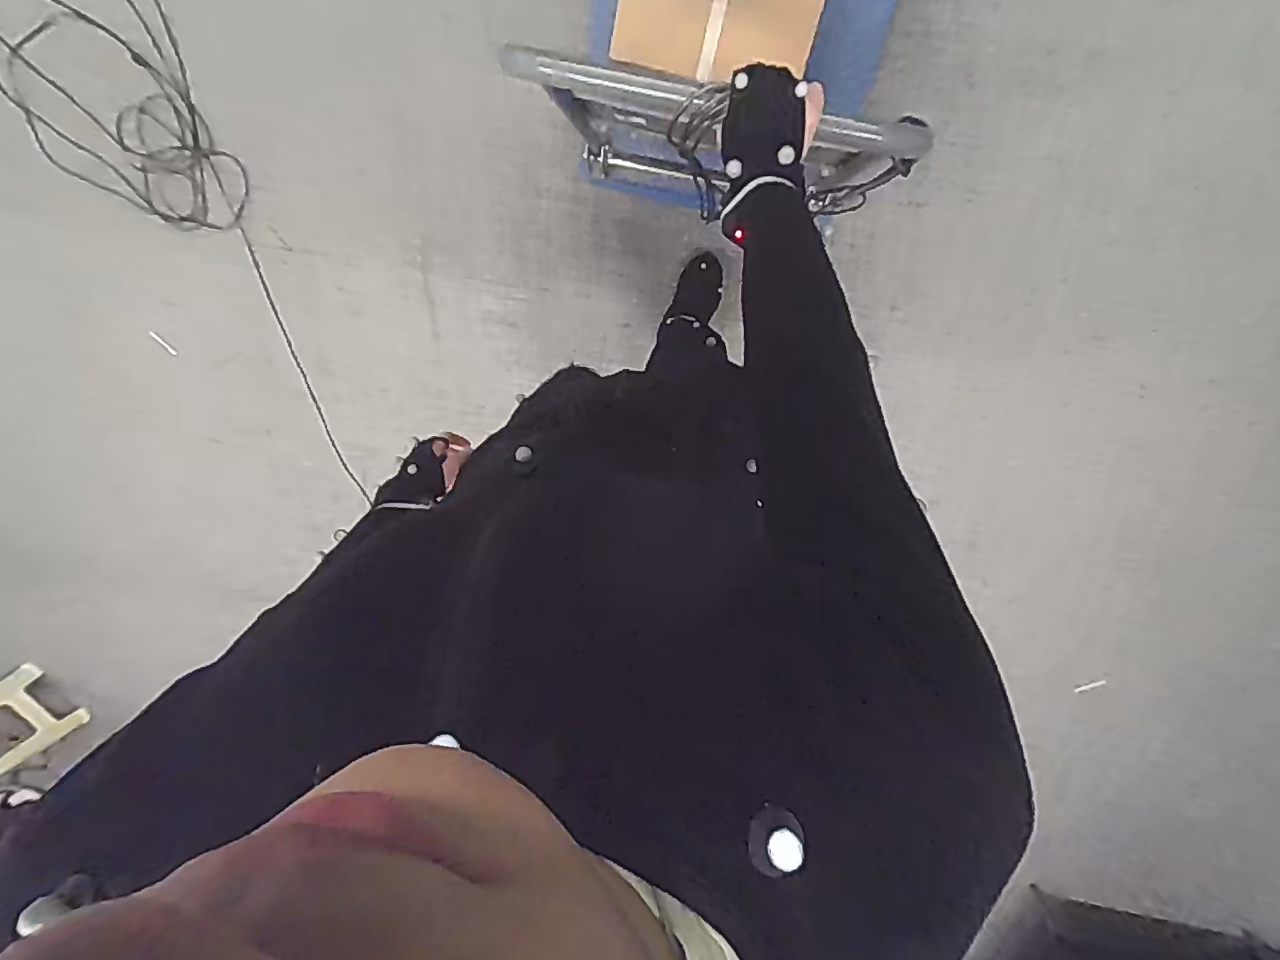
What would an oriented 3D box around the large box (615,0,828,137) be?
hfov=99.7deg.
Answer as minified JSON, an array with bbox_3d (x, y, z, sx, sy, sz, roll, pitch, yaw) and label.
[{"bbox_3d":[0.166,-0.874,0.924,0.320,0.320,0.408,15,112,1],"label":"large box"}]
